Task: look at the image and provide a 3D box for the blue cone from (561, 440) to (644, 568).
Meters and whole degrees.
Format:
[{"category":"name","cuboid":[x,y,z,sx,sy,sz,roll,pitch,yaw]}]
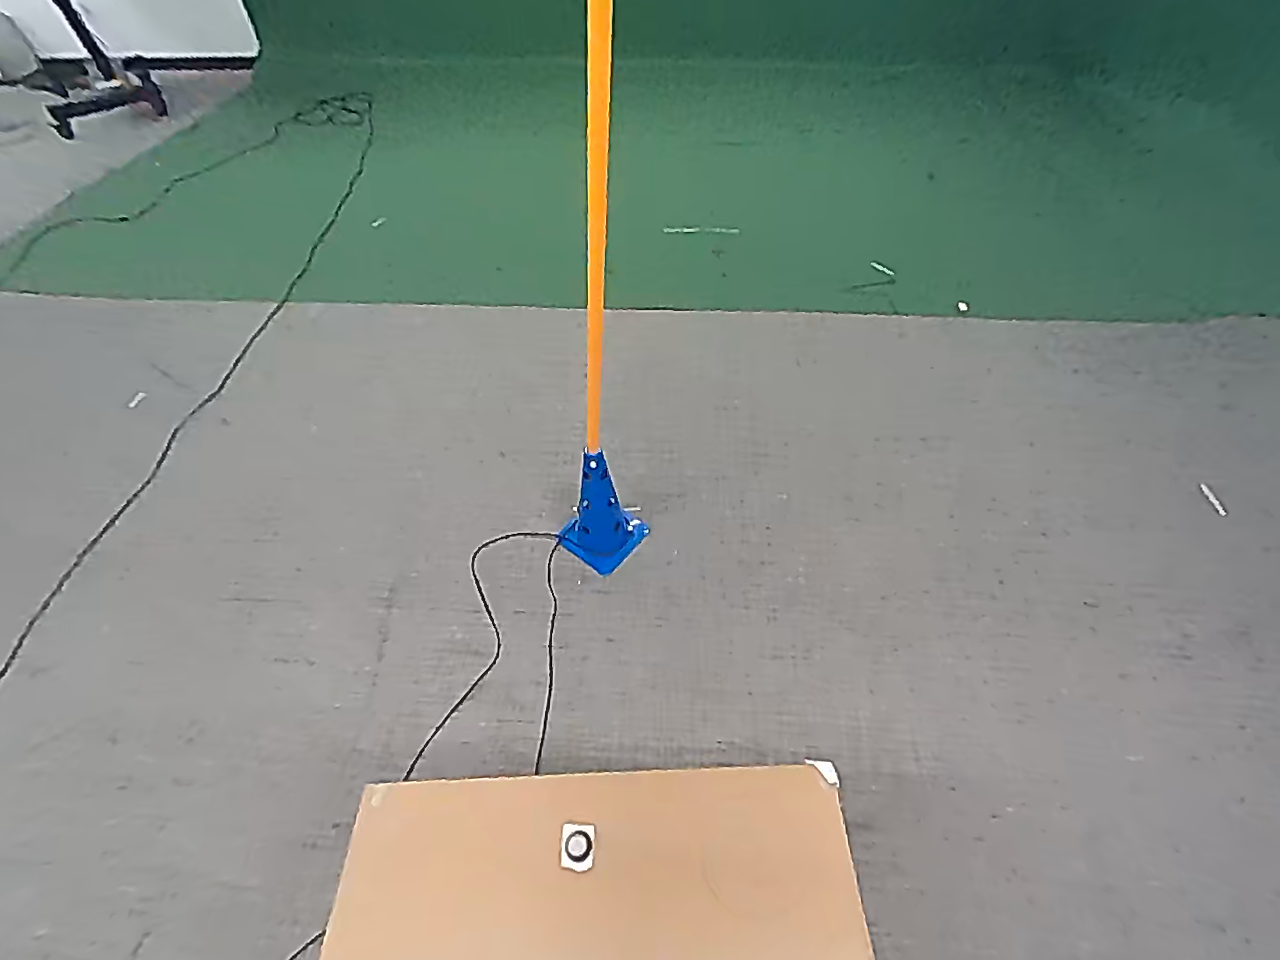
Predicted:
[{"category":"blue cone","cuboid":[-0.103,0.036,1.376,0.192,0.380,0.193,30,56,21]}]
